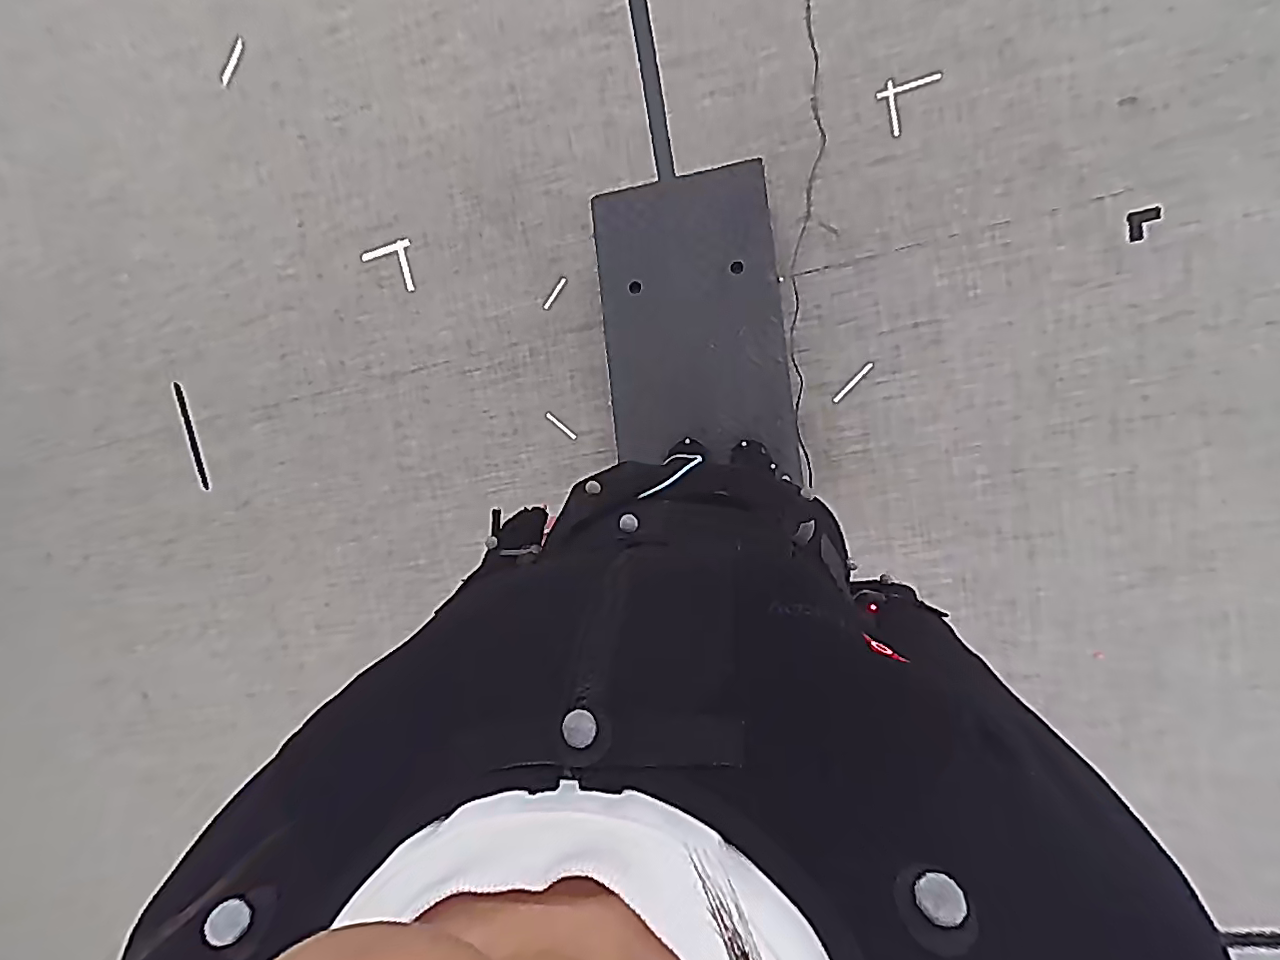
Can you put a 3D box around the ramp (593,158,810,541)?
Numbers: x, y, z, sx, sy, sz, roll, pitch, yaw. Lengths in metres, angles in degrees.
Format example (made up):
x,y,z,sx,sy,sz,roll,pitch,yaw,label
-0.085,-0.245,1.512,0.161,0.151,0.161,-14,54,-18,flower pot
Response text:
x,y,z,sx,sy,sz,roll,pitch,yaw,label
0.149,-0.352,1.482,0.509,0.206,0.991,-9,95,13,ramp
